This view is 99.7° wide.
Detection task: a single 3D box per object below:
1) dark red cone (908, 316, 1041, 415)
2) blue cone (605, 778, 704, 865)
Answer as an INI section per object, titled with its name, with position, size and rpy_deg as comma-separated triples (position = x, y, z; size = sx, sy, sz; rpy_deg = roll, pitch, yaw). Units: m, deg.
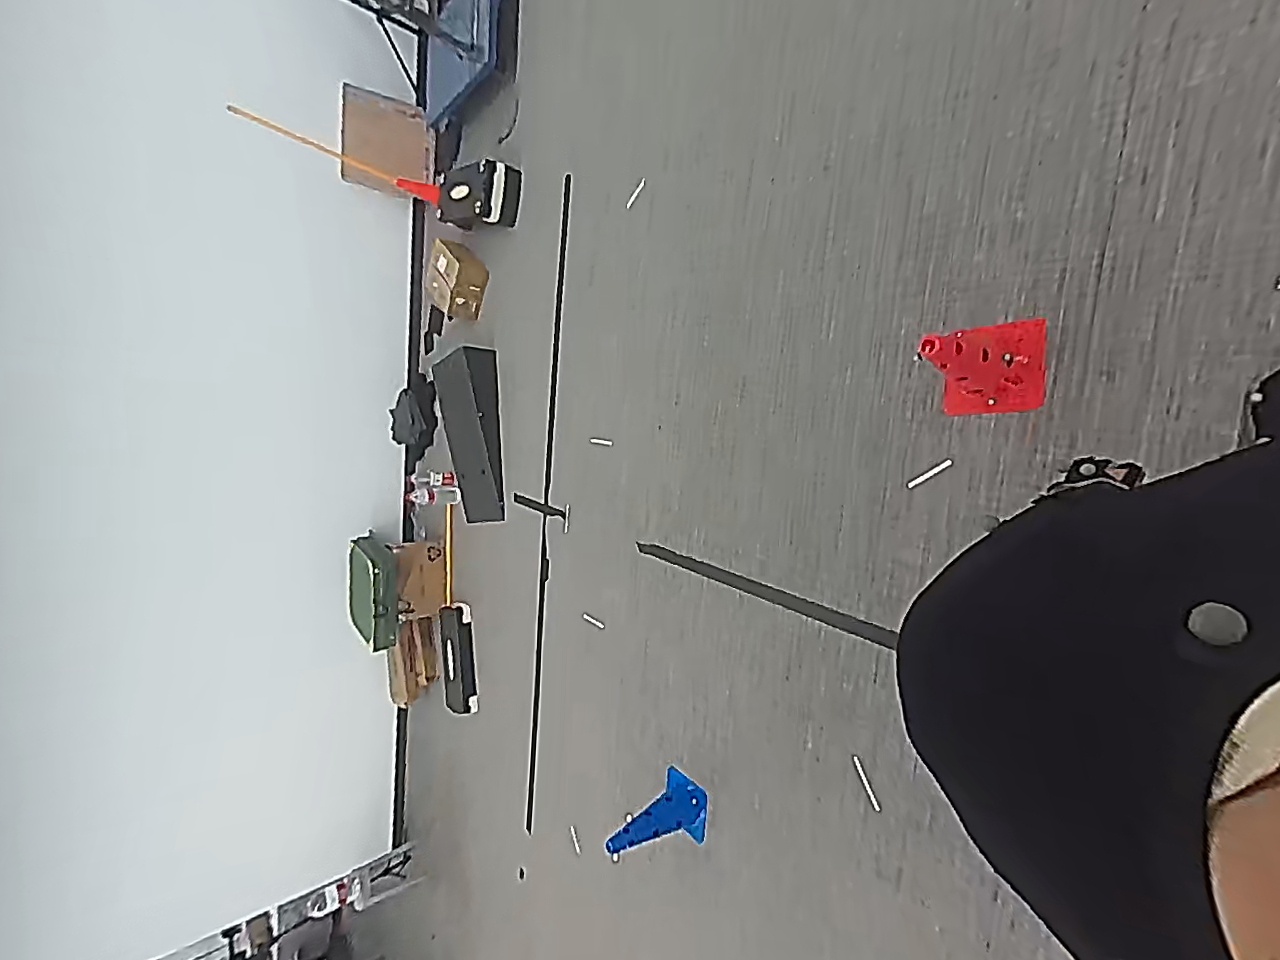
[dark red cone]
position = 0.642, -0.243, 1.092
size = 0.202, 0.394, 0.201
rpy_deg = 2, 93, 49
[blue cone]
position = 0.038, 1.215, 1.872
size = 0.193, 0.380, 0.192
rpy_deg = 14, 103, 48
